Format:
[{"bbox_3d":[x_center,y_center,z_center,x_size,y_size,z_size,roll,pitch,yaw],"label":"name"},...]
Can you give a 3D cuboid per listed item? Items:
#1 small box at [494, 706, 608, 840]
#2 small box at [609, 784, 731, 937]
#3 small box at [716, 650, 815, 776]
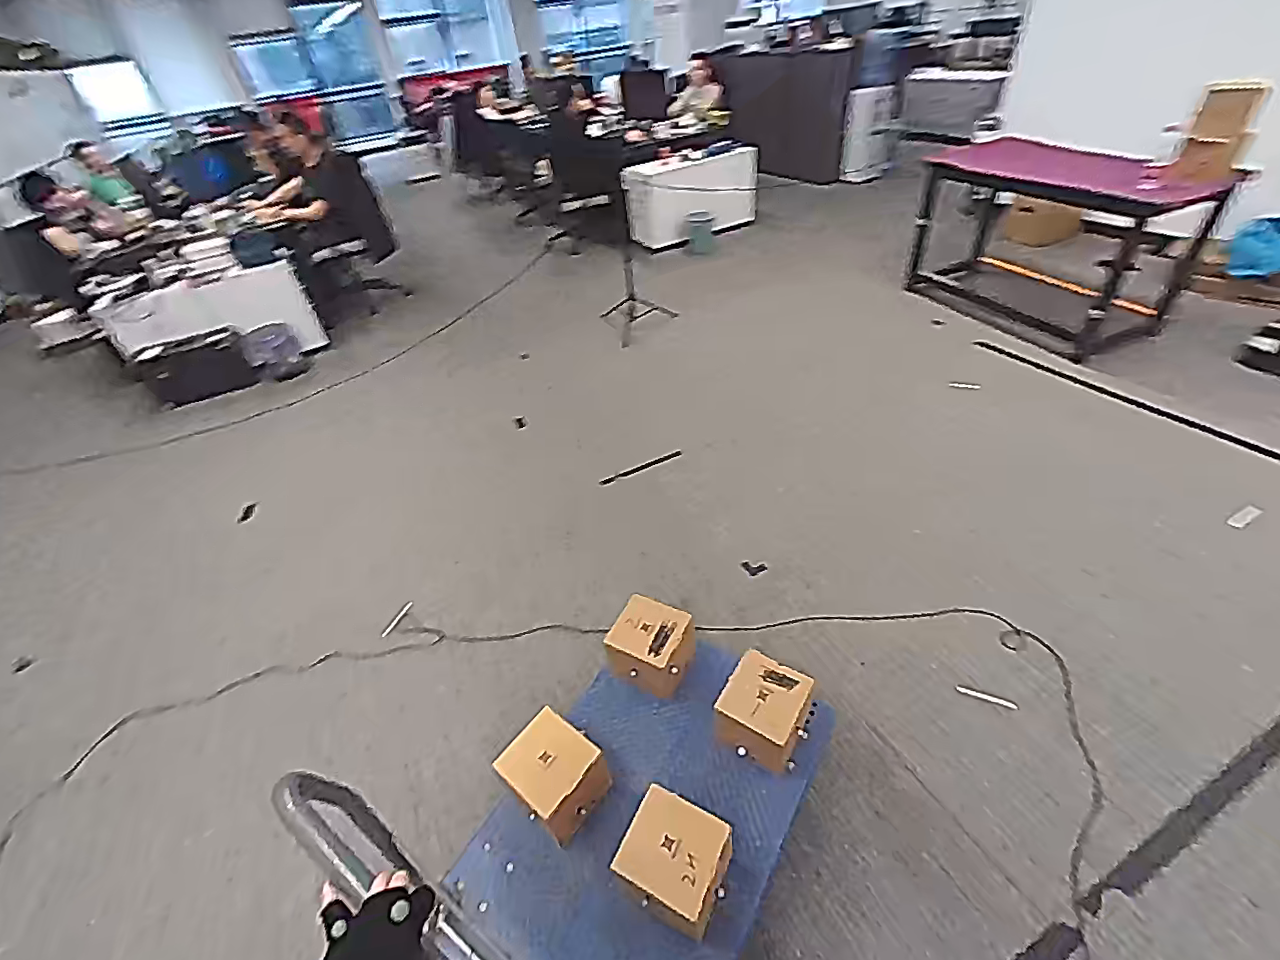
[{"bbox_3d":[-0.191,0.652,1.199,0.179,0.176,0.168,25,50,31],"label":"small box"},{"bbox_3d":[0.065,0.741,1.052,0.179,0.176,0.168,17,46,26],"label":"small box"},{"bbox_3d":[0.287,0.539,1.253,0.168,0.176,0.179,21,49,30],"label":"small box"}]
